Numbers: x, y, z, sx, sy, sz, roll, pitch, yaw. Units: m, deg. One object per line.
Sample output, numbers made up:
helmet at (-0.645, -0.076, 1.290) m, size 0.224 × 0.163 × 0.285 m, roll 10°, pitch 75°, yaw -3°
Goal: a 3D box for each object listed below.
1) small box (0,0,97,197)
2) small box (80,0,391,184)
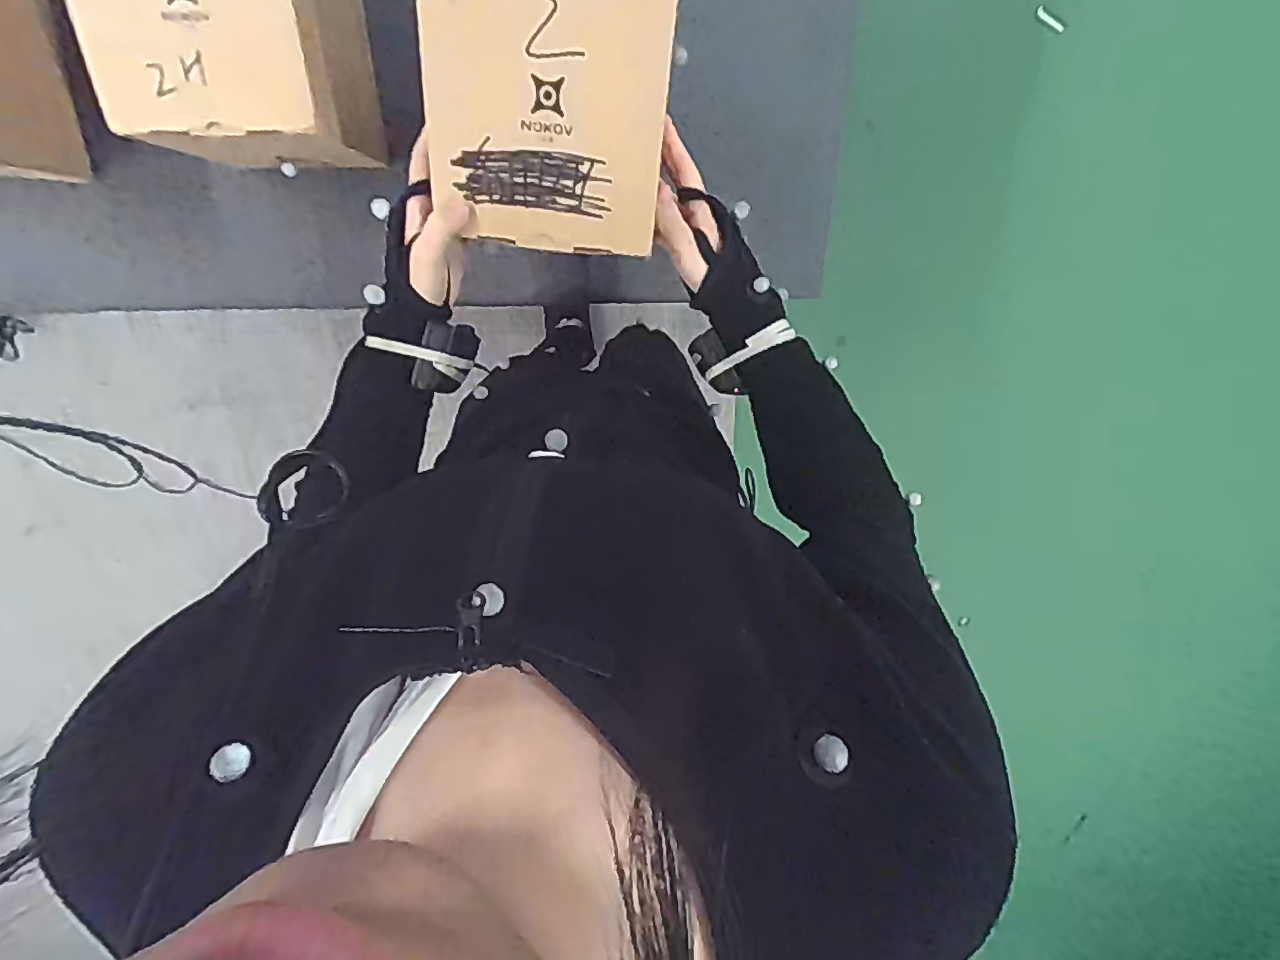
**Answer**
small box at (-0.653, -0.363, 0.481) m, size 0.168 × 0.176 × 0.179 m, roll 2°, pitch 110°, yaw -6°
small box at (-0.352, -0.386, 0.497) m, size 0.168 × 0.176 × 0.179 m, roll -2°, pitch 111°, yaw -3°
